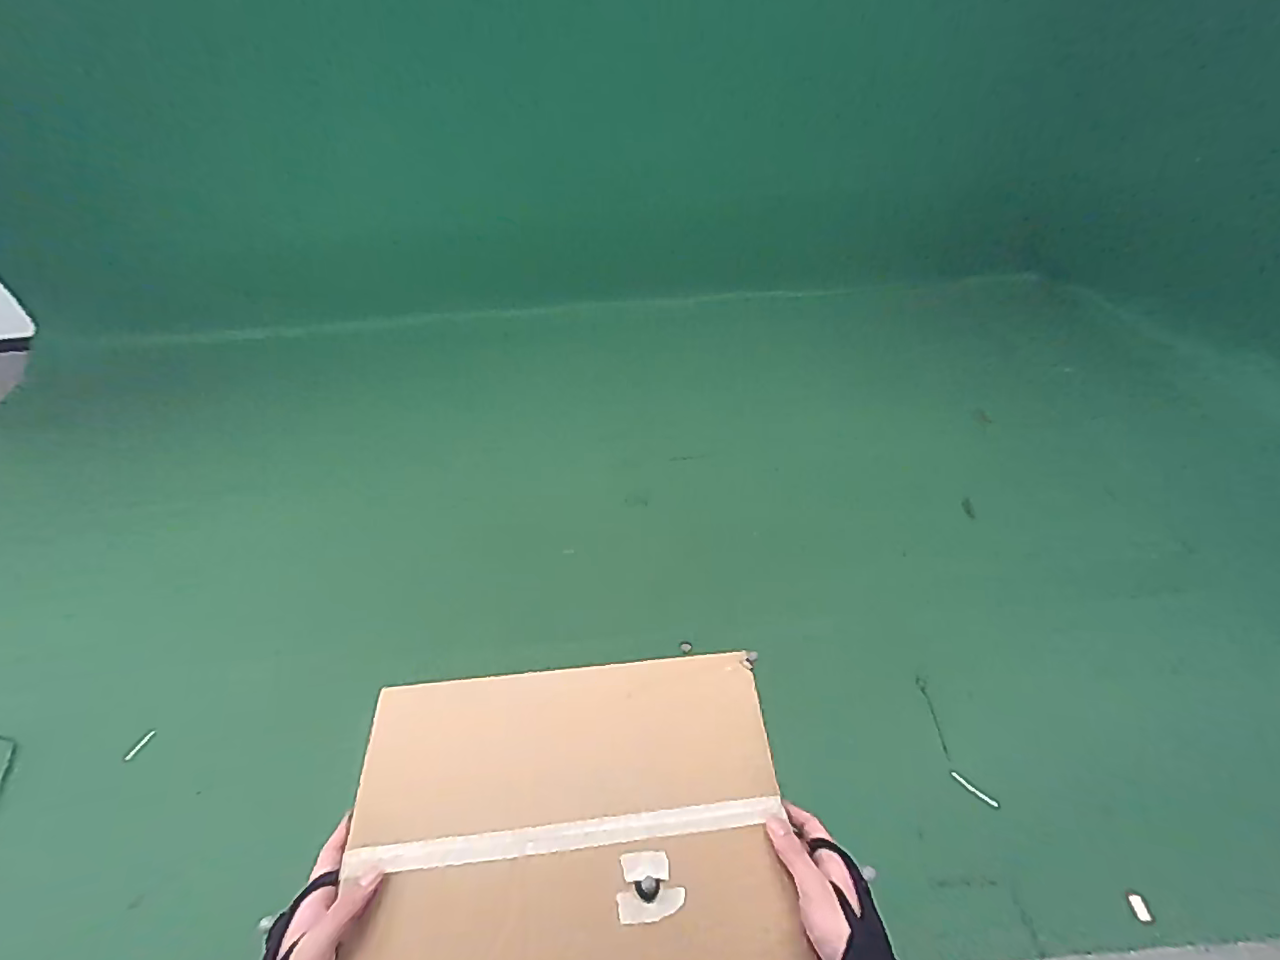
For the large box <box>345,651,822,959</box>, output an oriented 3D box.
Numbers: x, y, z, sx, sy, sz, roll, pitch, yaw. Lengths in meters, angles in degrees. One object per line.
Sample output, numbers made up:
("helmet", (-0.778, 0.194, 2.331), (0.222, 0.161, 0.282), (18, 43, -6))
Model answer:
("large box", (-0.062, 0.428, 0.627), (0.408, 0.320, 0.320), (-4, 50, -5))
